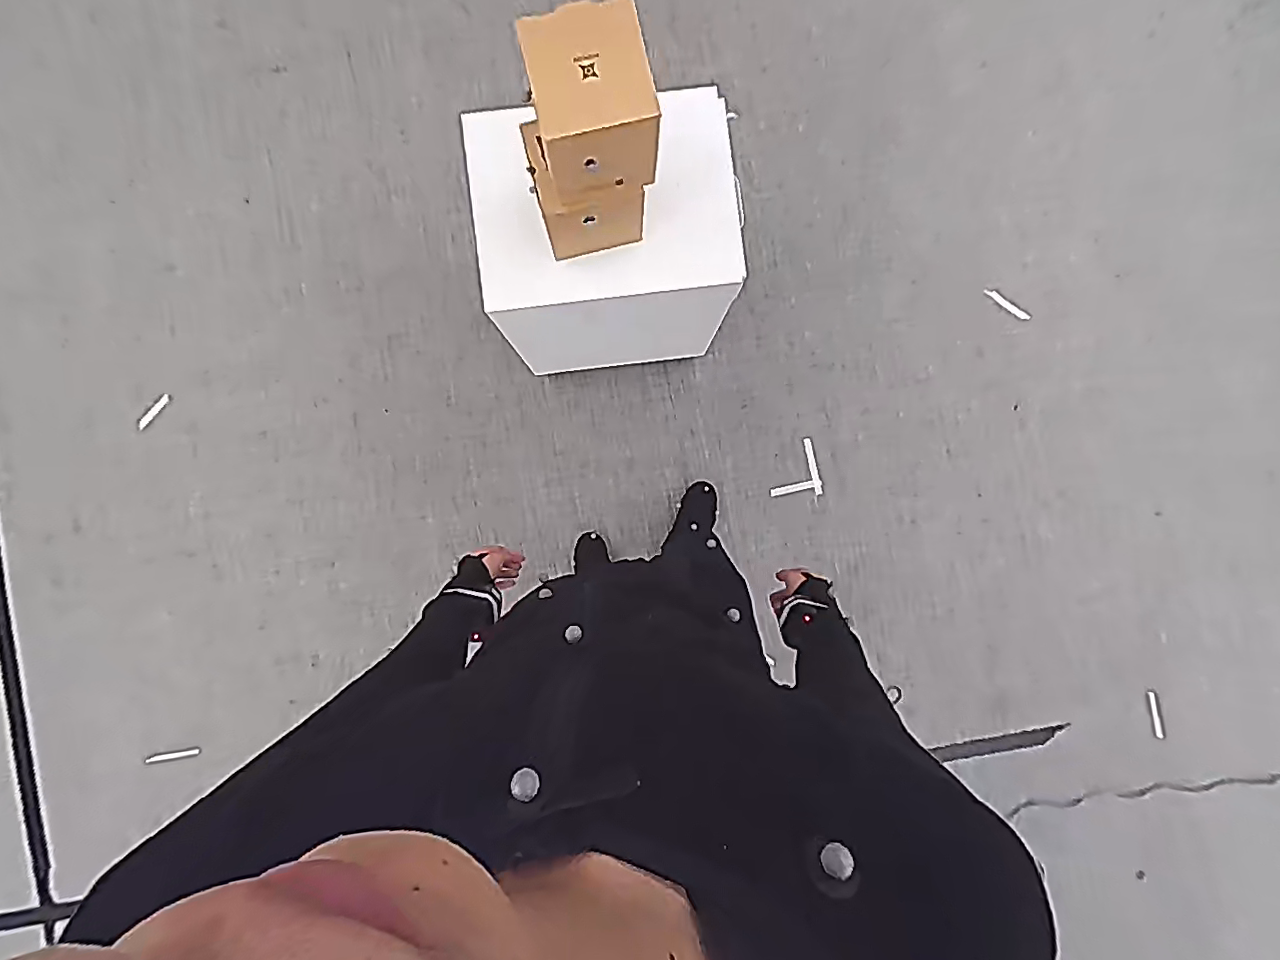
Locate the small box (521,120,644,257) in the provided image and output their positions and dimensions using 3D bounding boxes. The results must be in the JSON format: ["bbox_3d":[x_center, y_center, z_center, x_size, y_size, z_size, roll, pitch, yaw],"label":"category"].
[{"bbox_3d":[-0.096,-0.527,0.973,0.179,0.176,0.168,-15,89,-2],"label":"small box"}]

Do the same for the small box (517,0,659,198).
[{"bbox_3d":[-0.071,-0.553,0.812,0.168,0.176,0.179,-14,88,-2],"label":"small box"}]
